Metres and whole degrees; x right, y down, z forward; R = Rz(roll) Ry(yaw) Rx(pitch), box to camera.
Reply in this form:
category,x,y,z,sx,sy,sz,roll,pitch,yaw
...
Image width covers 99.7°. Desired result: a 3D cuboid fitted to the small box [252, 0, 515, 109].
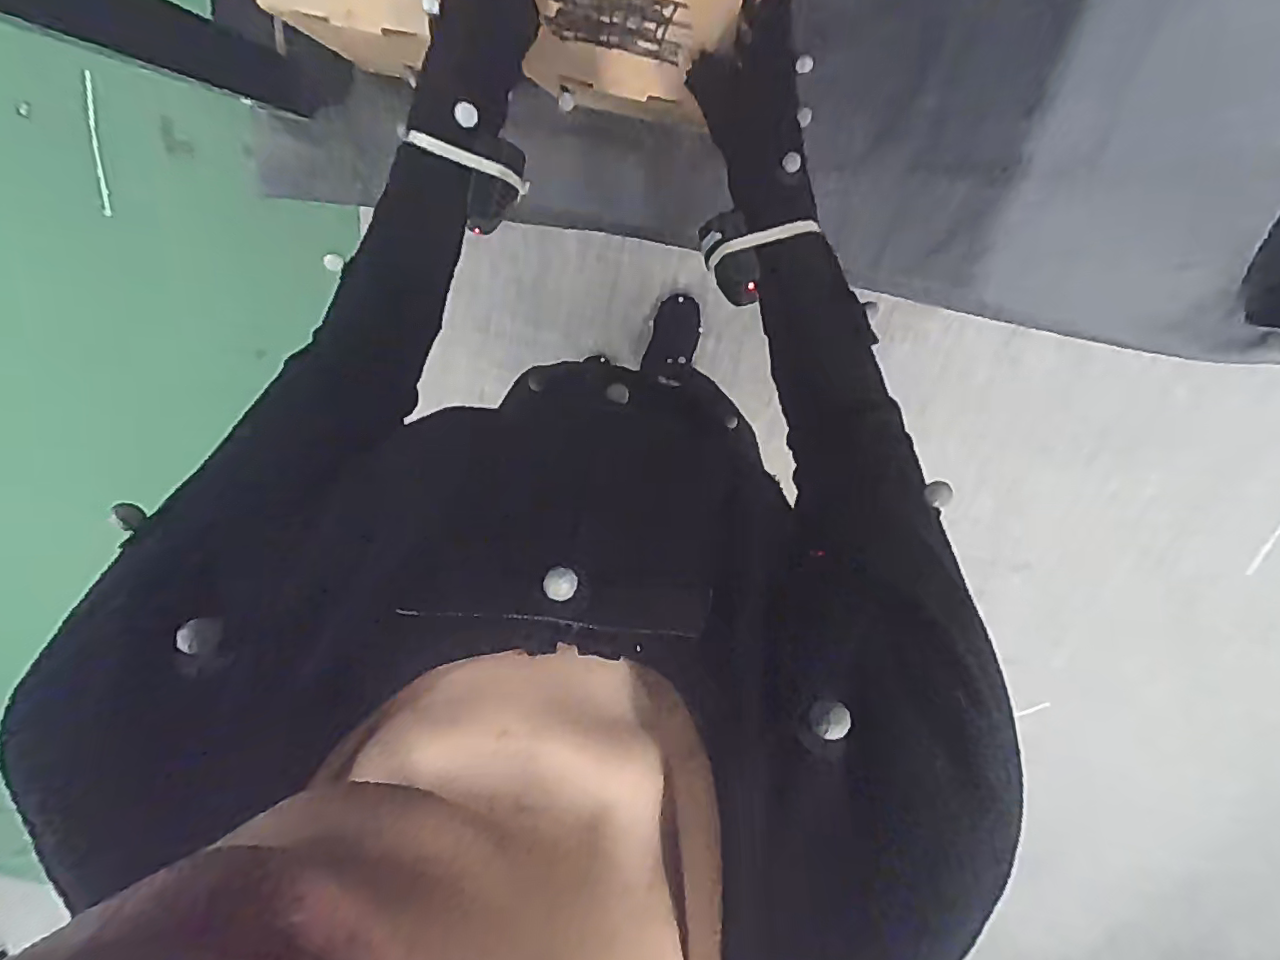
category,x,y,z,sx,sy,sz,roll,pitch,yaw
small box,-0.216,-0.469,0.486,0.168,0.176,0.179,10,112,0

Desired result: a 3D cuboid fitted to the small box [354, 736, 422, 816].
category,x,y,z,sx,sy,sz,roll,pitch,yaw
small box,-0.899,1.054,1.936,0.168,0.176,0.179,14,113,-1
